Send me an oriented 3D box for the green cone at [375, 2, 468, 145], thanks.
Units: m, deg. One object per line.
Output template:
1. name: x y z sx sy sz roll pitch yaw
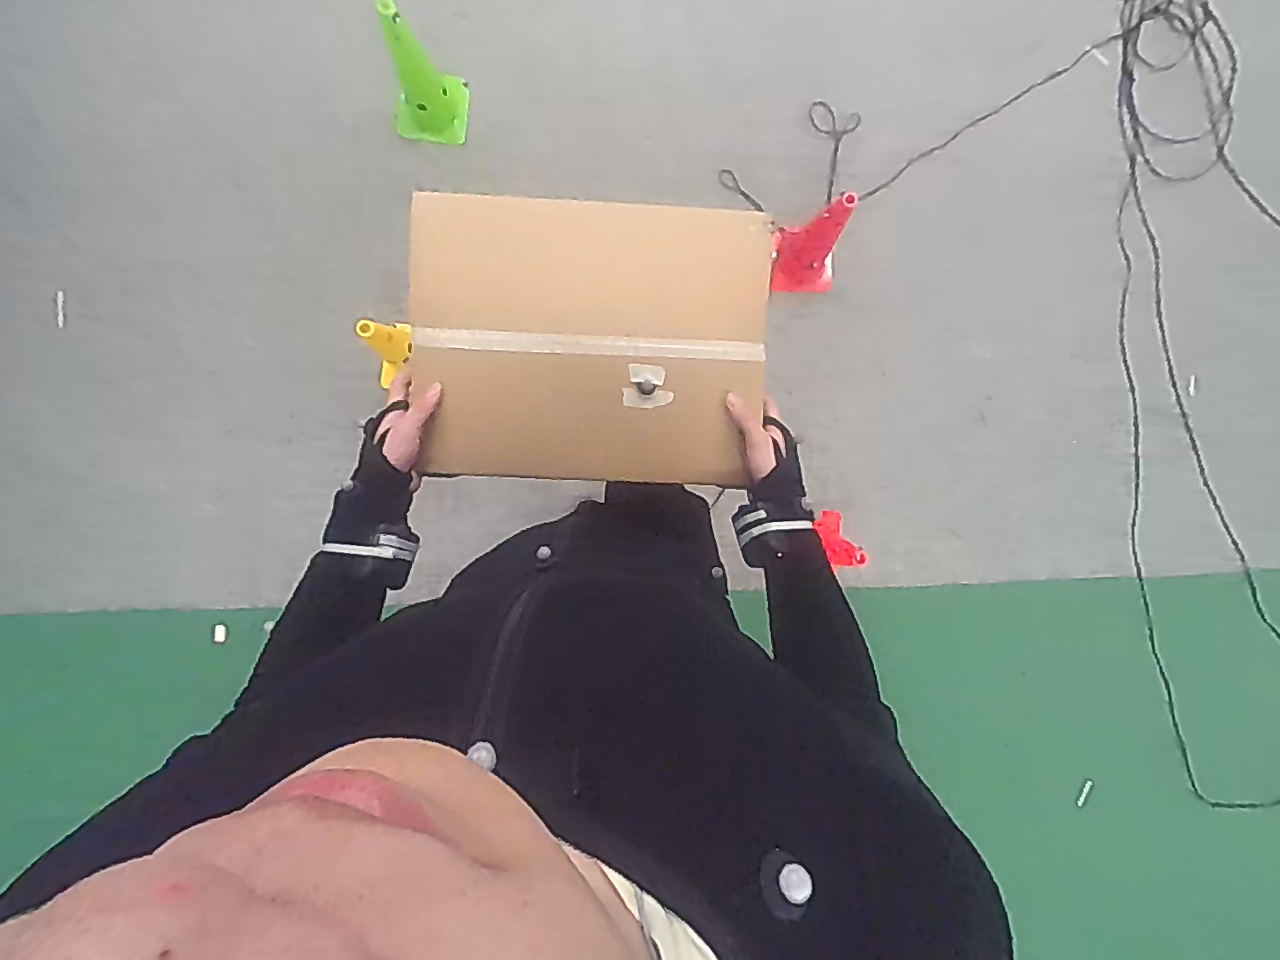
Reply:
1. green cone: -0.608 -1.098 1.430 0.200 0.368 0.202 5 91 -3

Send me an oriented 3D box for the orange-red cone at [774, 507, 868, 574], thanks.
1. orange-red cone: 0.532 0.192 1.499 0.199 0.360 0.198 6 91 -5

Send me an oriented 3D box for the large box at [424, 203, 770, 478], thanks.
1. large box: -0.057 -0.172 0.780 0.408 0.320 0.320 2 96 -3
